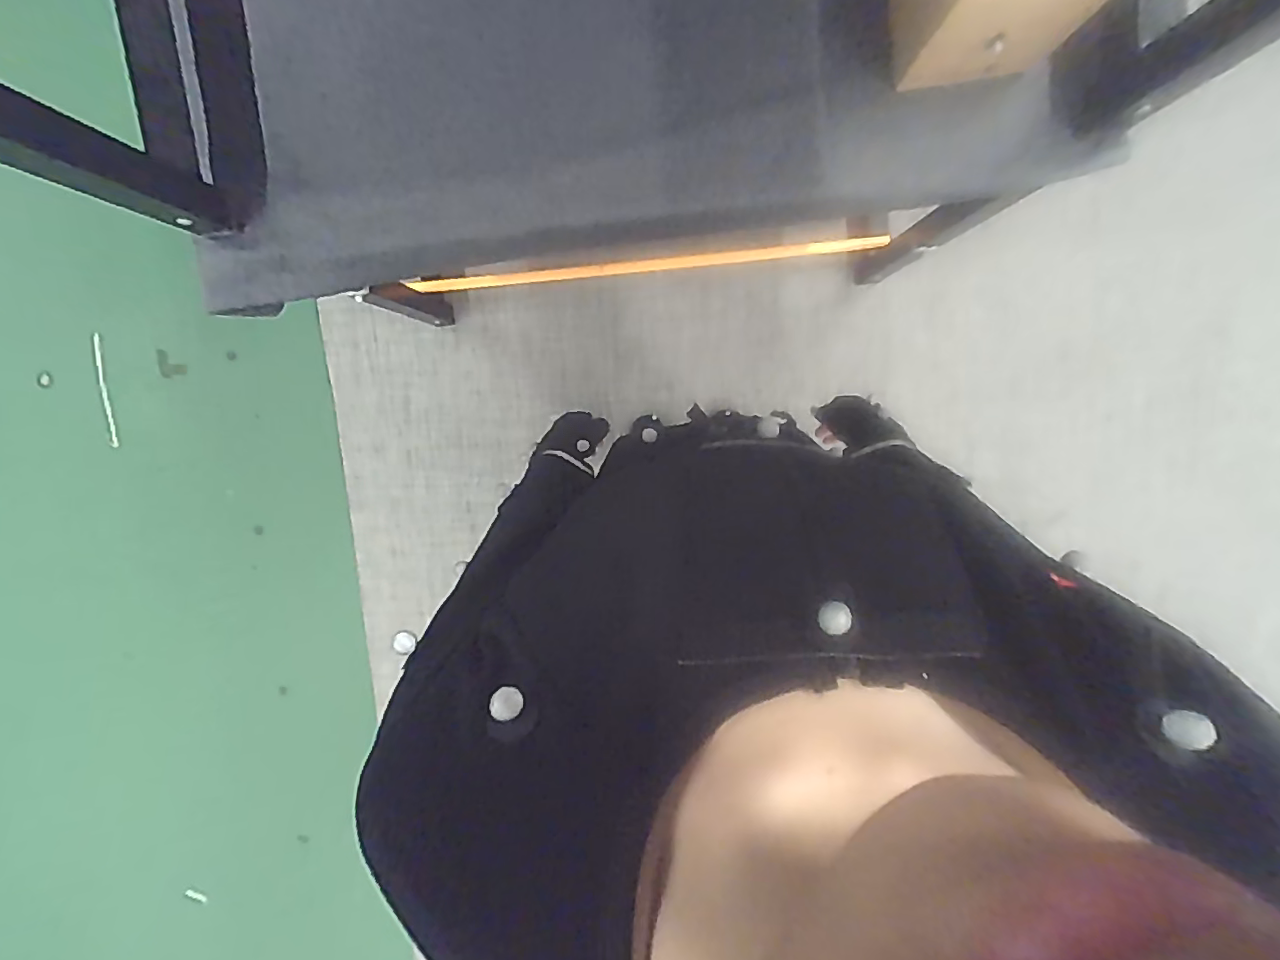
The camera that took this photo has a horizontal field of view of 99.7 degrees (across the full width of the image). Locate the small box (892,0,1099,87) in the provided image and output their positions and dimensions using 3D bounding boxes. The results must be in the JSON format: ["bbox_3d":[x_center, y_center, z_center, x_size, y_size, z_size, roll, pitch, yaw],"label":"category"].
[{"bbox_3d":[0.386,-0.560,0.580,0.168,0.176,0.179,-6,96,3],"label":"small box"}]
